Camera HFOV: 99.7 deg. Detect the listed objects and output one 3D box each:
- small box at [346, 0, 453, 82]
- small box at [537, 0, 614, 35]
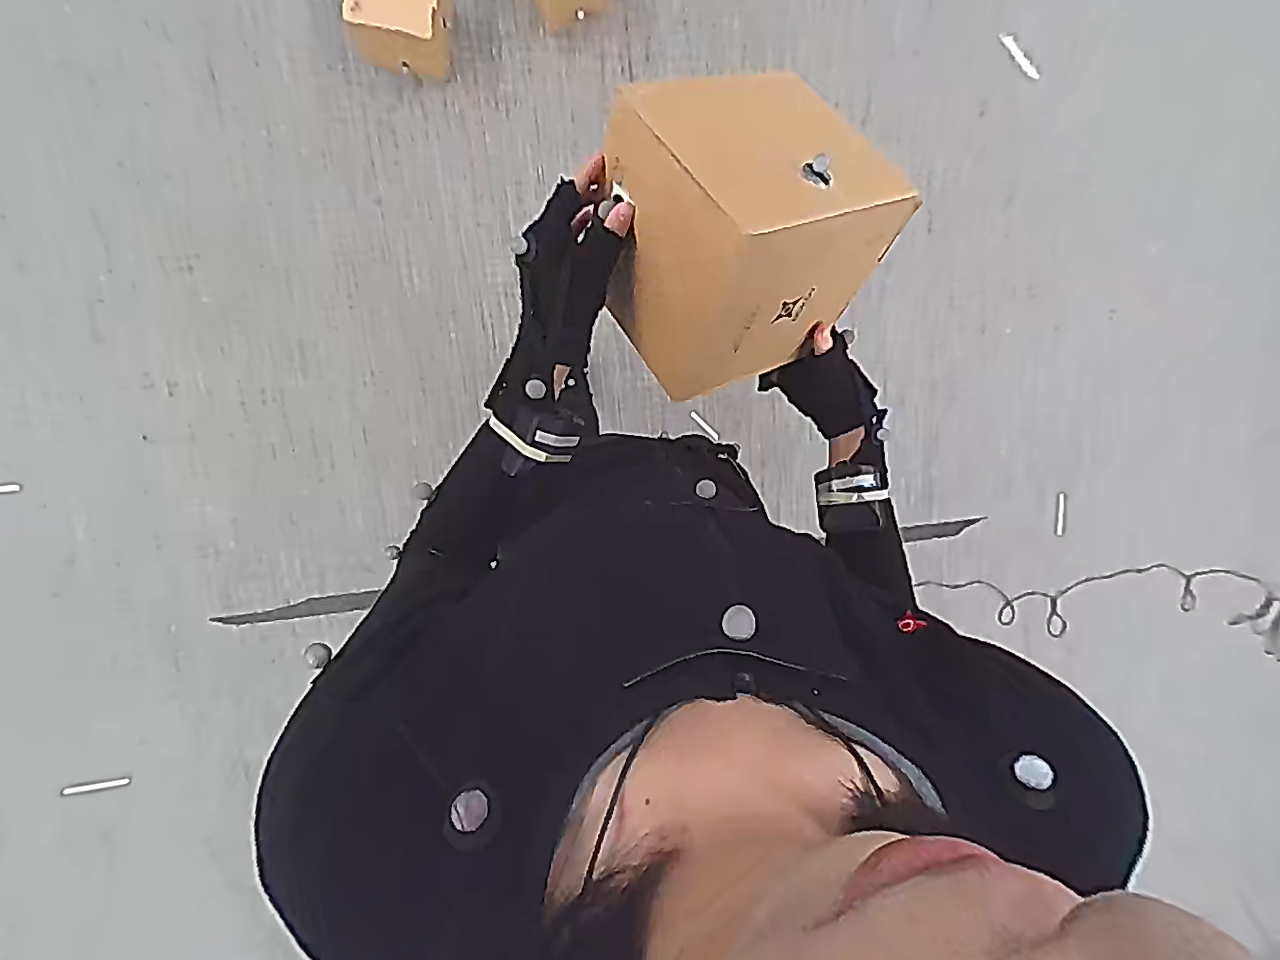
[{"bbox_3d":[-0.511,-1.007,1.172,0.179,0.176,0.168,6,98,-10],"label":"small box"},{"bbox_3d":[-0.160,-1.154,1.199,0.168,0.176,0.179,-26,103,-4],"label":"small box"}]
